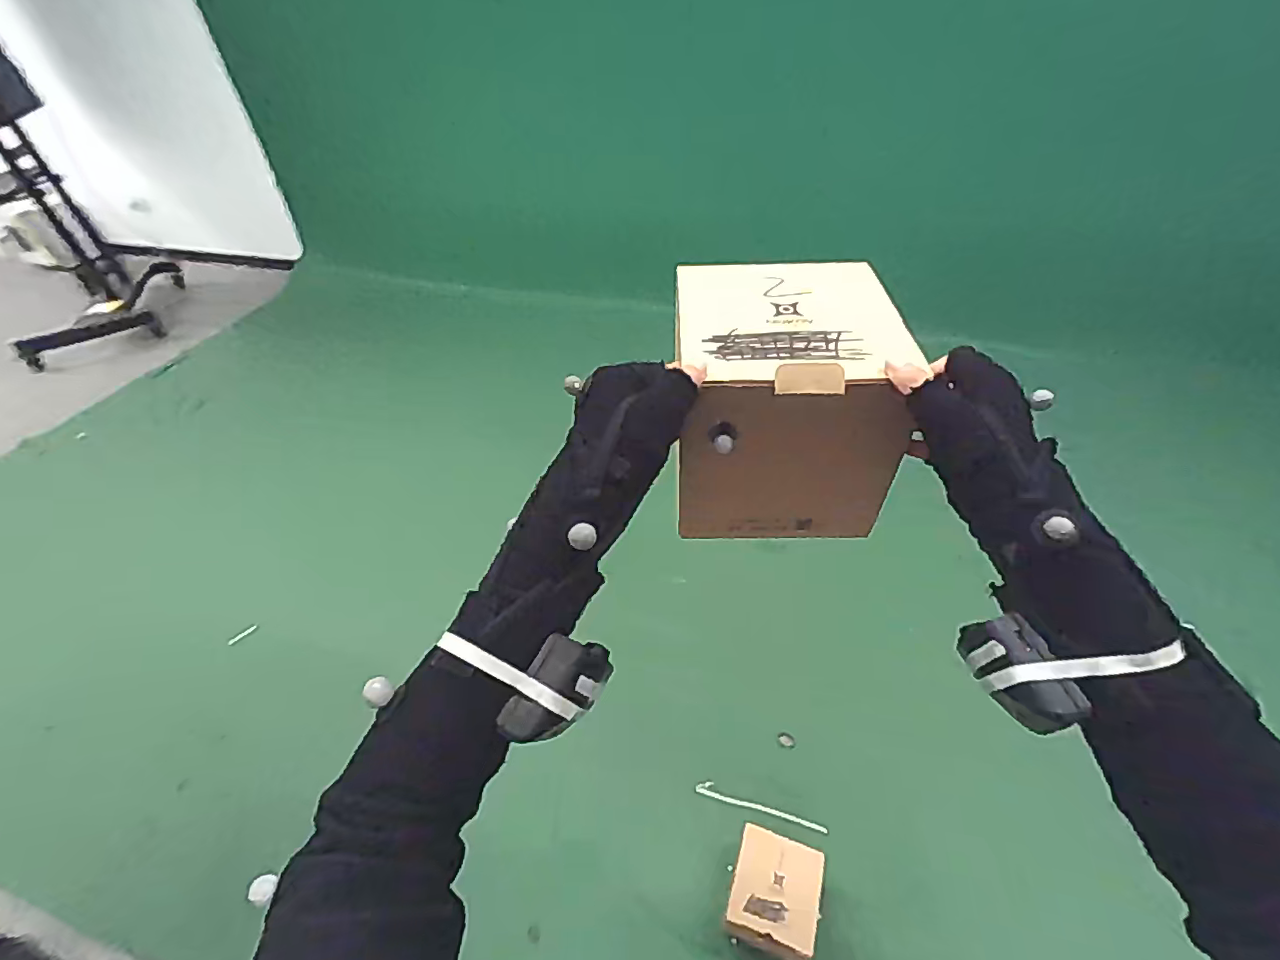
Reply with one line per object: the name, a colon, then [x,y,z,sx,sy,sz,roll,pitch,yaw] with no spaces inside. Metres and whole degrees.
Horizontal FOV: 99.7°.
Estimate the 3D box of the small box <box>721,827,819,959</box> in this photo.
small box: [0.265,0.862,1.120,0.168,0.176,0.179,12,47,14]
